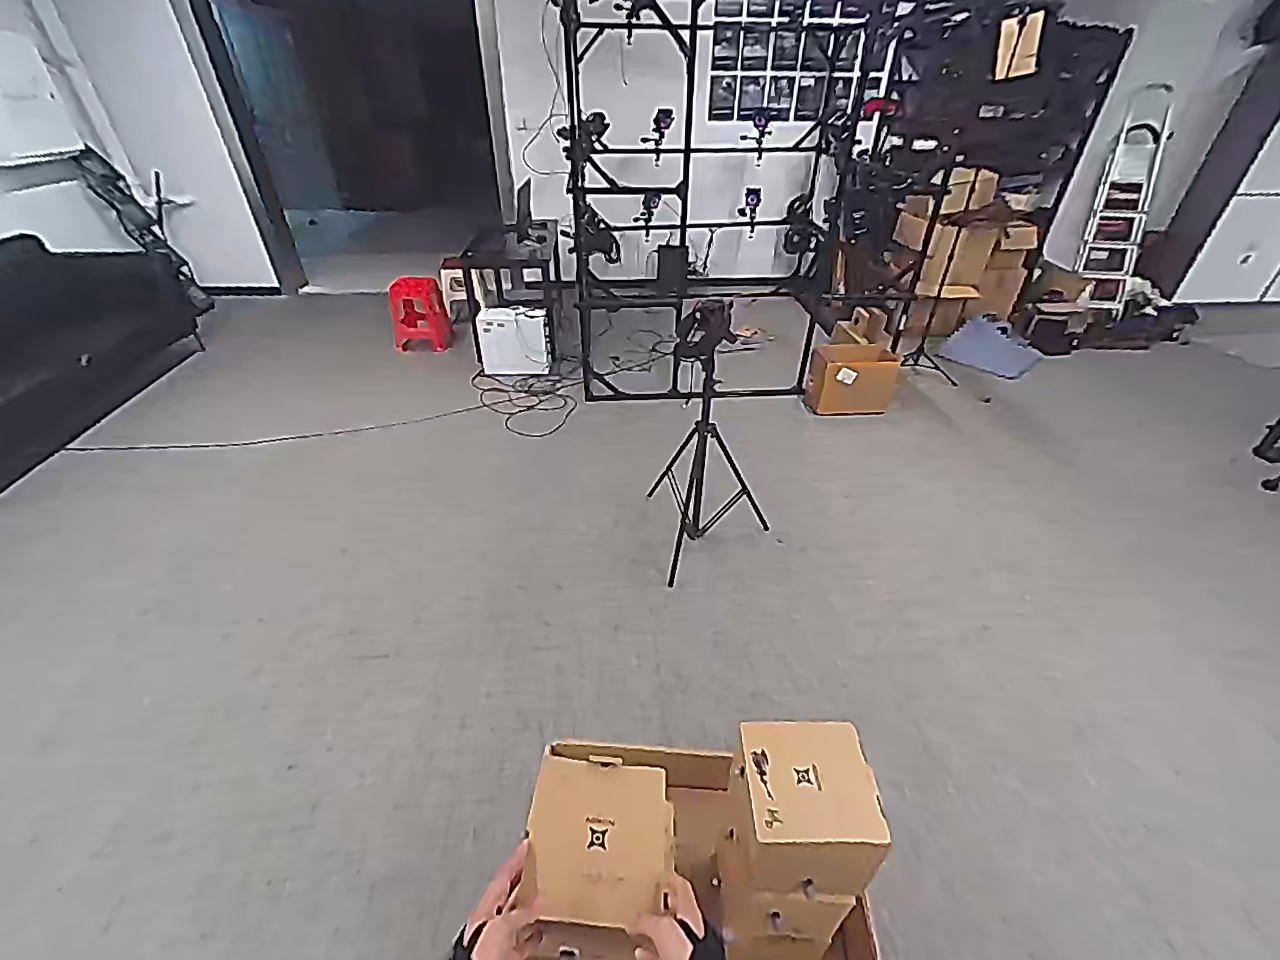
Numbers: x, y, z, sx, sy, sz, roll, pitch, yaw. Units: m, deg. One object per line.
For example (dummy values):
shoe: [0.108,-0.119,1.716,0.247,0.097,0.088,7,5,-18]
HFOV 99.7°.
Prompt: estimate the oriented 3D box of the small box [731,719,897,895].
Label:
small box: [0.236,0.472,0.783,0.179,0.176,0.168,1,34,0]

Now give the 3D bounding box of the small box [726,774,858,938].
small box: [0.233,0.607,0.875,0.168,0.176,0.179,2,35,2]

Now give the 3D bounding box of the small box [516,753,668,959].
small box: [-0.059,0.483,0.689,0.168,0.176,0.179,8,37,-2]
